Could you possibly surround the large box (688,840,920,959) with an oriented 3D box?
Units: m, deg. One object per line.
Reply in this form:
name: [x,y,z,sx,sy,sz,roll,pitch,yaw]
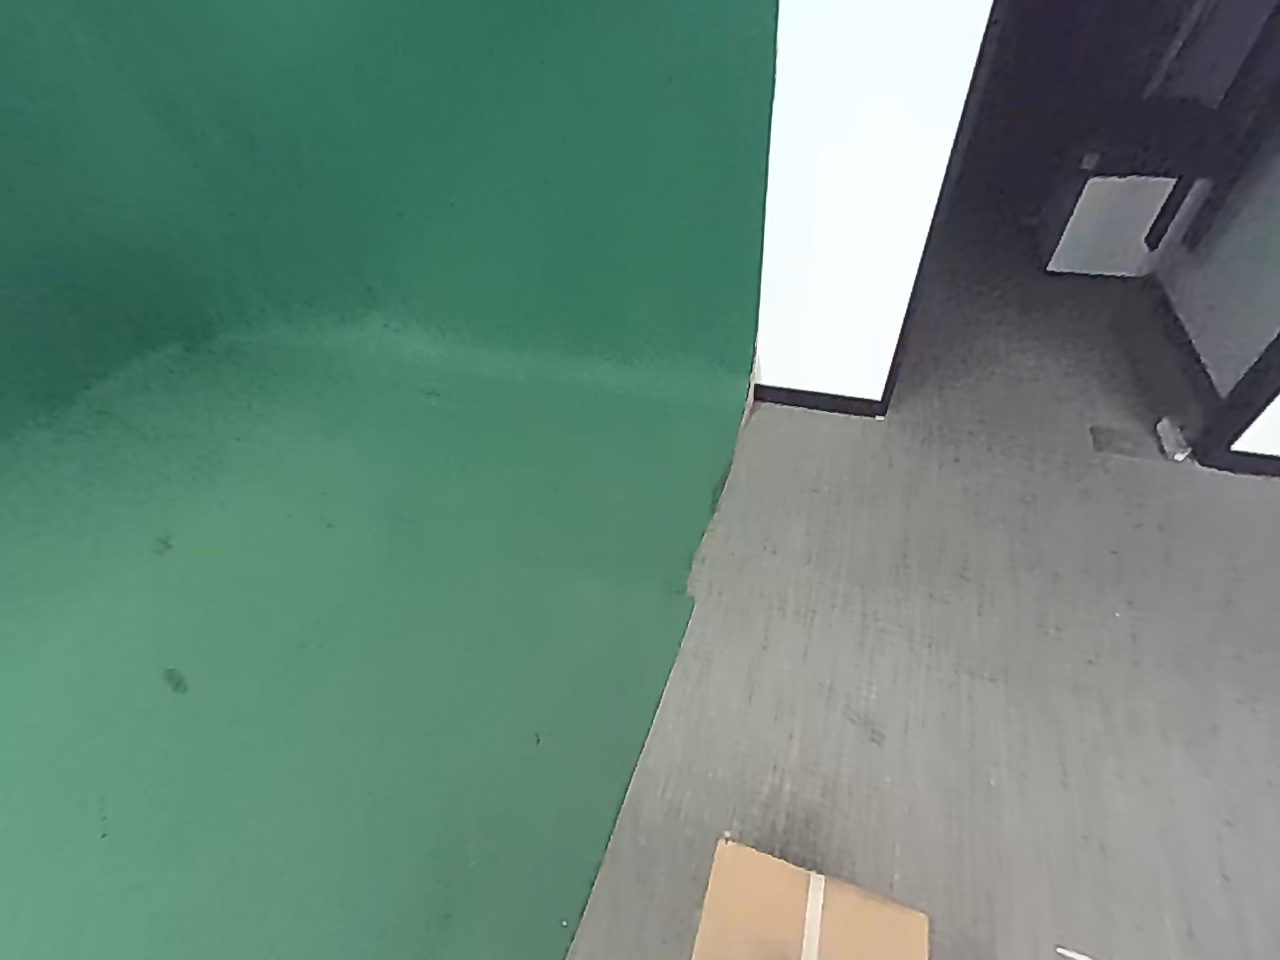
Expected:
large box: [0.217,0.855,0.811,0.320,0.320,0.408,11,47,18]
